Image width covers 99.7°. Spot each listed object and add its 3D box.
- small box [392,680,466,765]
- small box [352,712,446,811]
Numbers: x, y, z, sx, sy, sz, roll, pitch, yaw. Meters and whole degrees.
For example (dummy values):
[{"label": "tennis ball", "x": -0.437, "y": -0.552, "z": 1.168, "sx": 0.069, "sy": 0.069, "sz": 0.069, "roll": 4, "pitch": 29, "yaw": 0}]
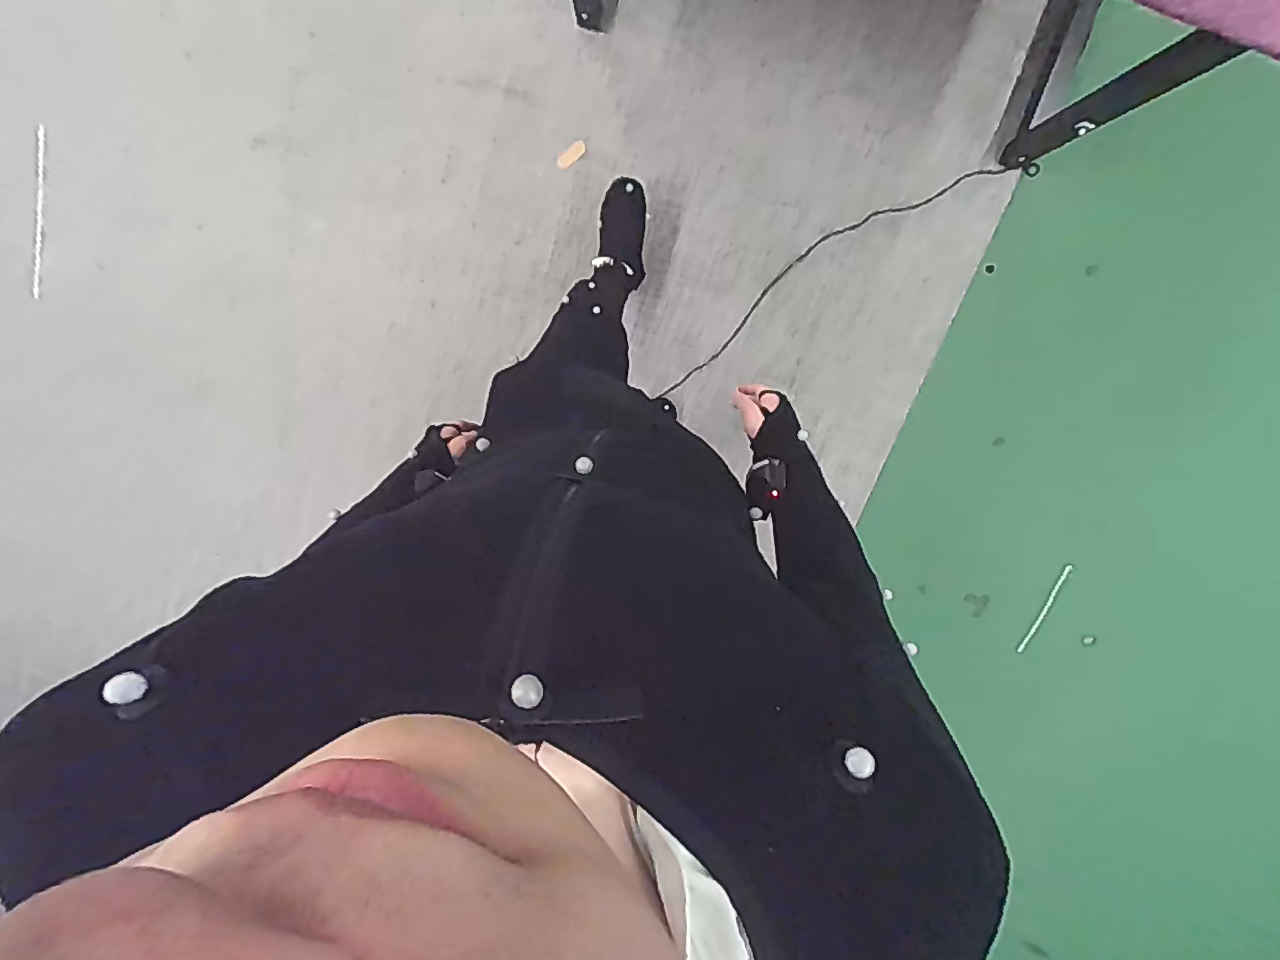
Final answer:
[{"label": "small box", "x": -0.695, "y": 0.780, "z": 1.754, "sx": 0.179, "sy": 0.176, "sz": 0.168, "roll": 23, "pitch": 104, "yaw": -3}, {"label": "small box", "x": -0.701, "y": 0.822, "z": 1.596, "sx": 0.179, "sy": 0.176, "sz": 0.168, "roll": 25, "pitch": 103, "yaw": -4}]
